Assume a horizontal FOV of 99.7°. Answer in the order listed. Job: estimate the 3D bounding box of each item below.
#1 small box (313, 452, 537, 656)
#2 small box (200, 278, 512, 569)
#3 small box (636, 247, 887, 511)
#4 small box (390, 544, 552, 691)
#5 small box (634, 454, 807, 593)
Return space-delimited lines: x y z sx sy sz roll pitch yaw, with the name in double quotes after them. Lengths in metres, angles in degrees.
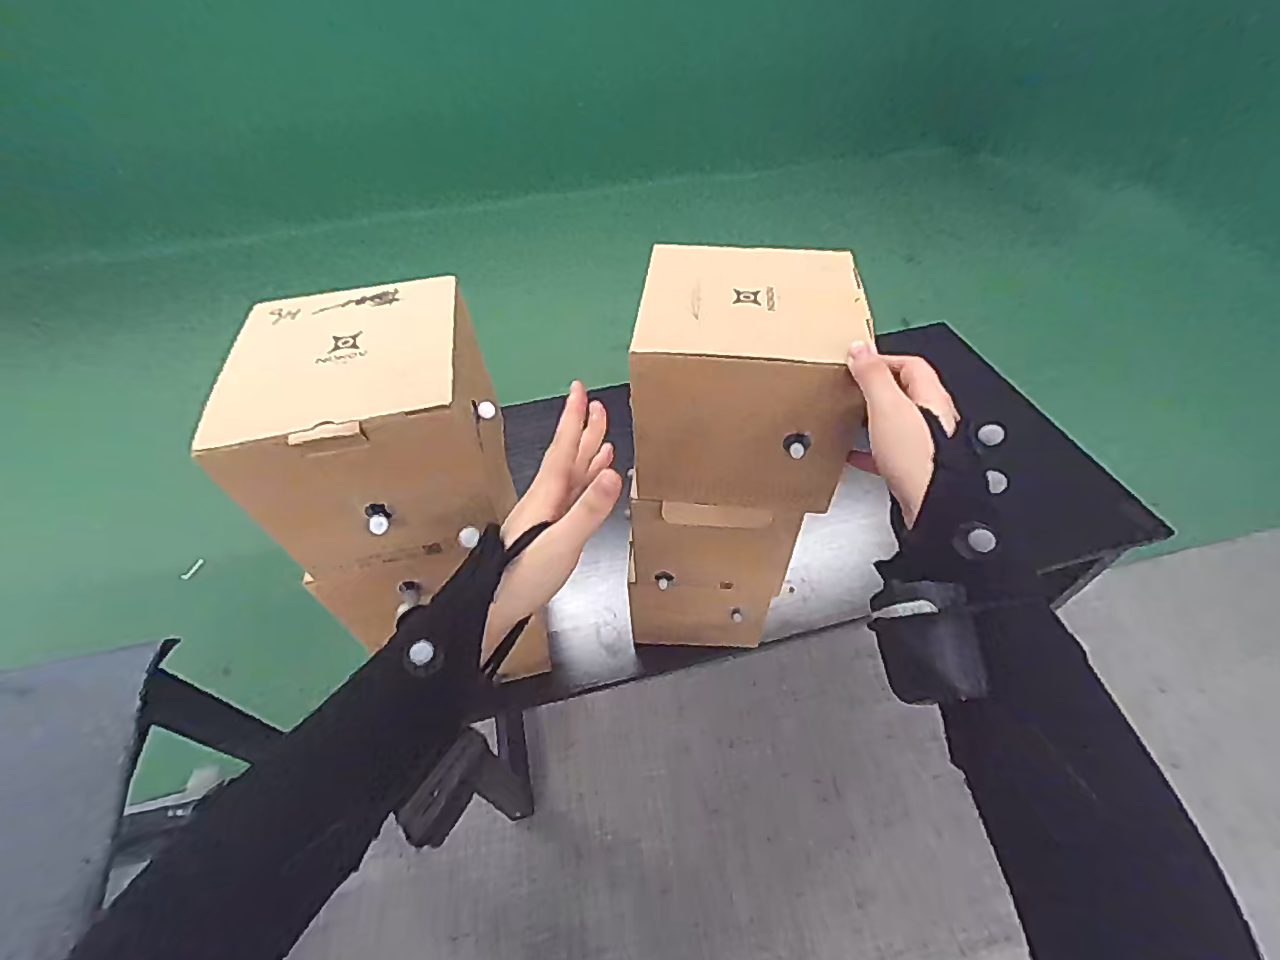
-0.213 0.067 0.585 0.179 0.176 0.168 -12 50 -7 "small box"
-0.210 -0.040 0.460 0.168 0.176 0.179 -11 50 -5 "small box"
0.095 -0.087 0.486 0.179 0.176 0.168 4 49 6 "small box"
-0.216 0.162 0.718 0.168 0.176 0.179 -11 50 -8 "small box"
0.086 0.012 0.615 0.168 0.176 0.179 3 49 5 "small box"
